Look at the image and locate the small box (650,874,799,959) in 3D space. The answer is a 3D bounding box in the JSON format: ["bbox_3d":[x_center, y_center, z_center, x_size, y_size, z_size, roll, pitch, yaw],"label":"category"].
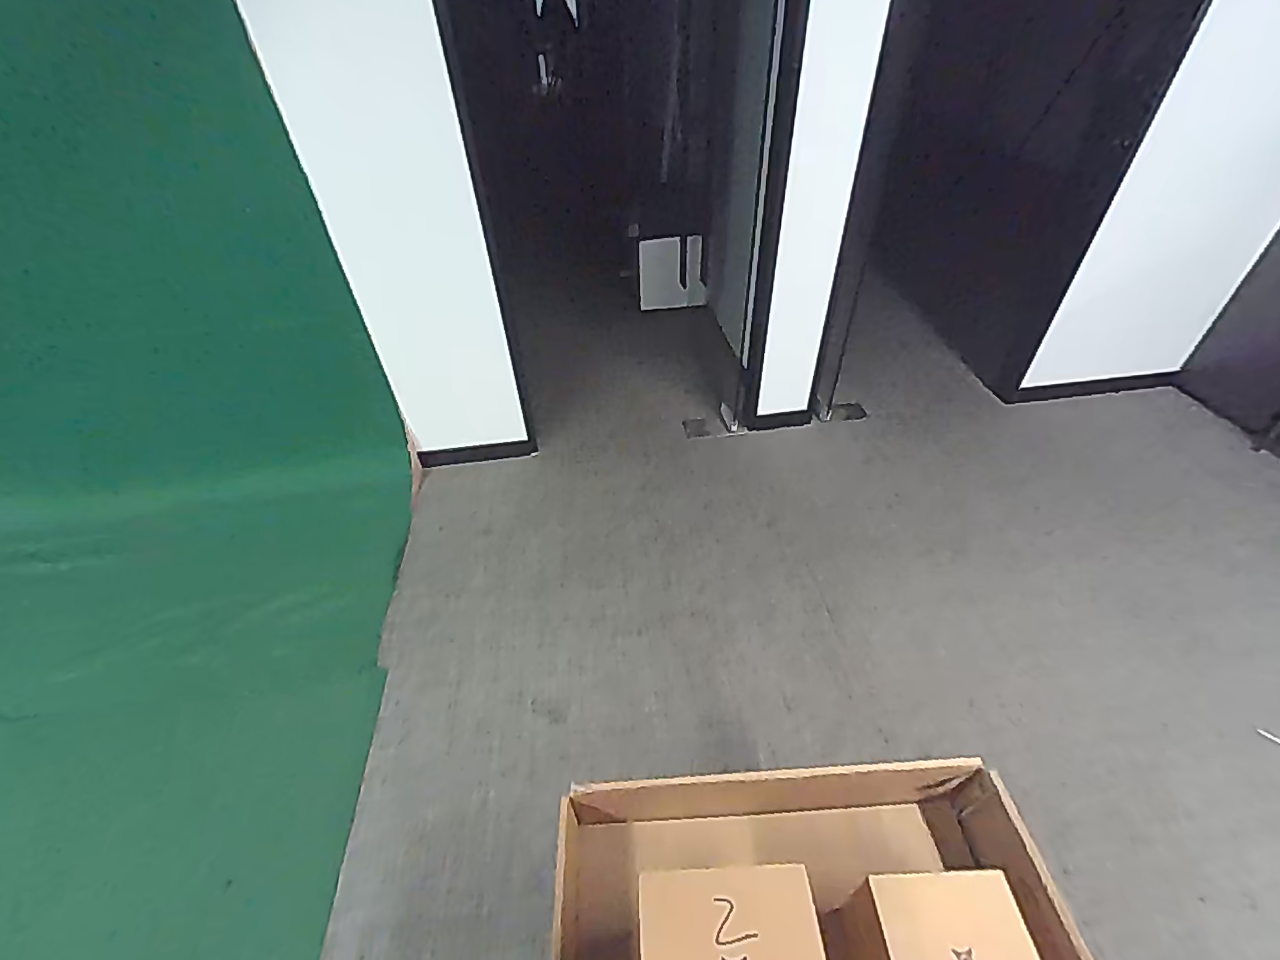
[{"bbox_3d":[0.099,0.601,0.645,0.168,0.176,0.179,-5,43,-1],"label":"small box"}]
